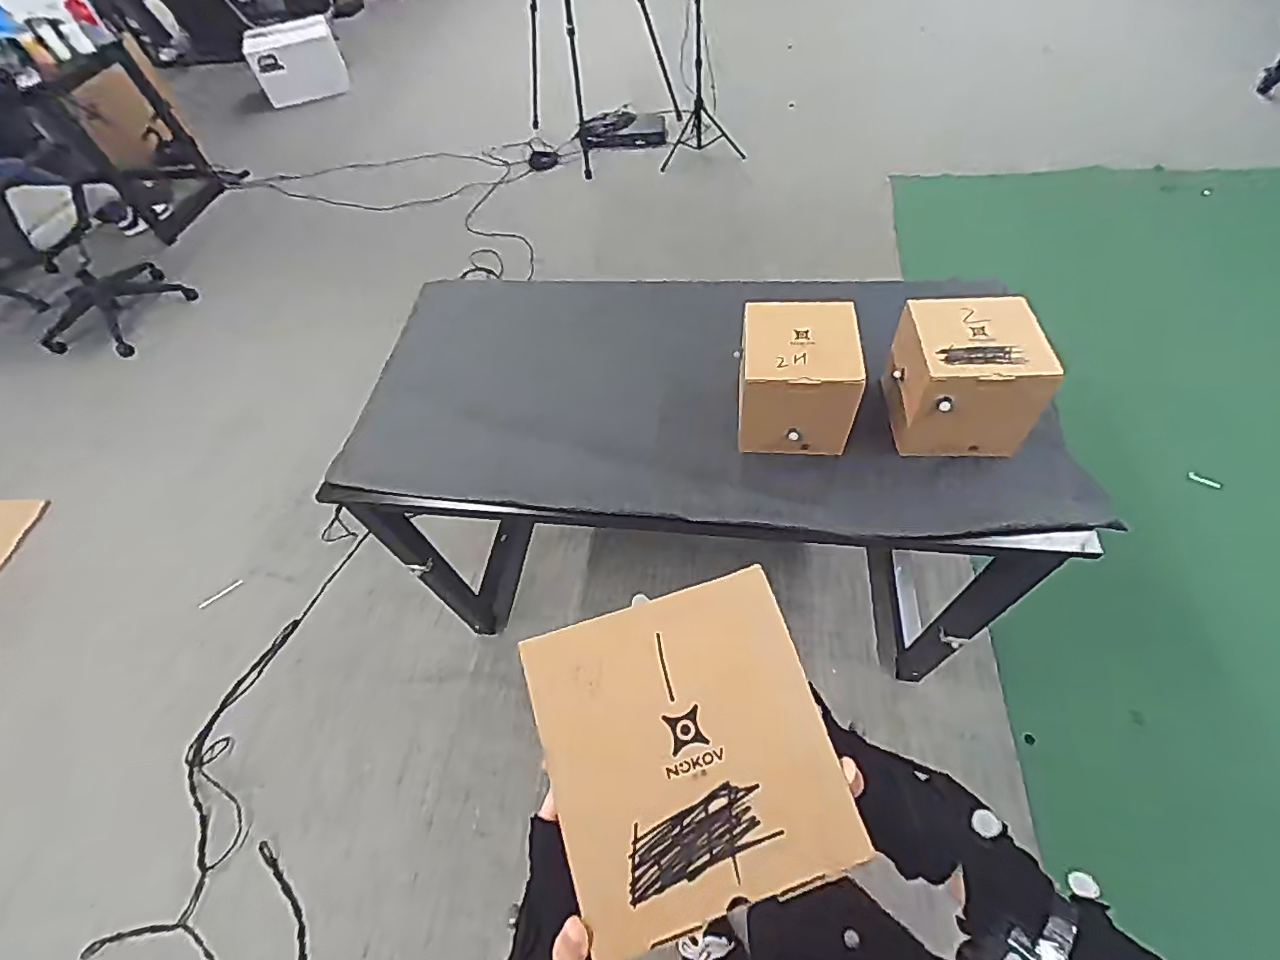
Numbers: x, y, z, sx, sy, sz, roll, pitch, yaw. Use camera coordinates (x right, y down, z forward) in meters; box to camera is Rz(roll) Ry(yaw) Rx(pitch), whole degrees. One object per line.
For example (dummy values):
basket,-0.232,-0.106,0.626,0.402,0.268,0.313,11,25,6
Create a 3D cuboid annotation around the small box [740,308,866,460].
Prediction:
small box,0.248,-0.153,0.864,0.168,0.176,0.179,2,55,9
